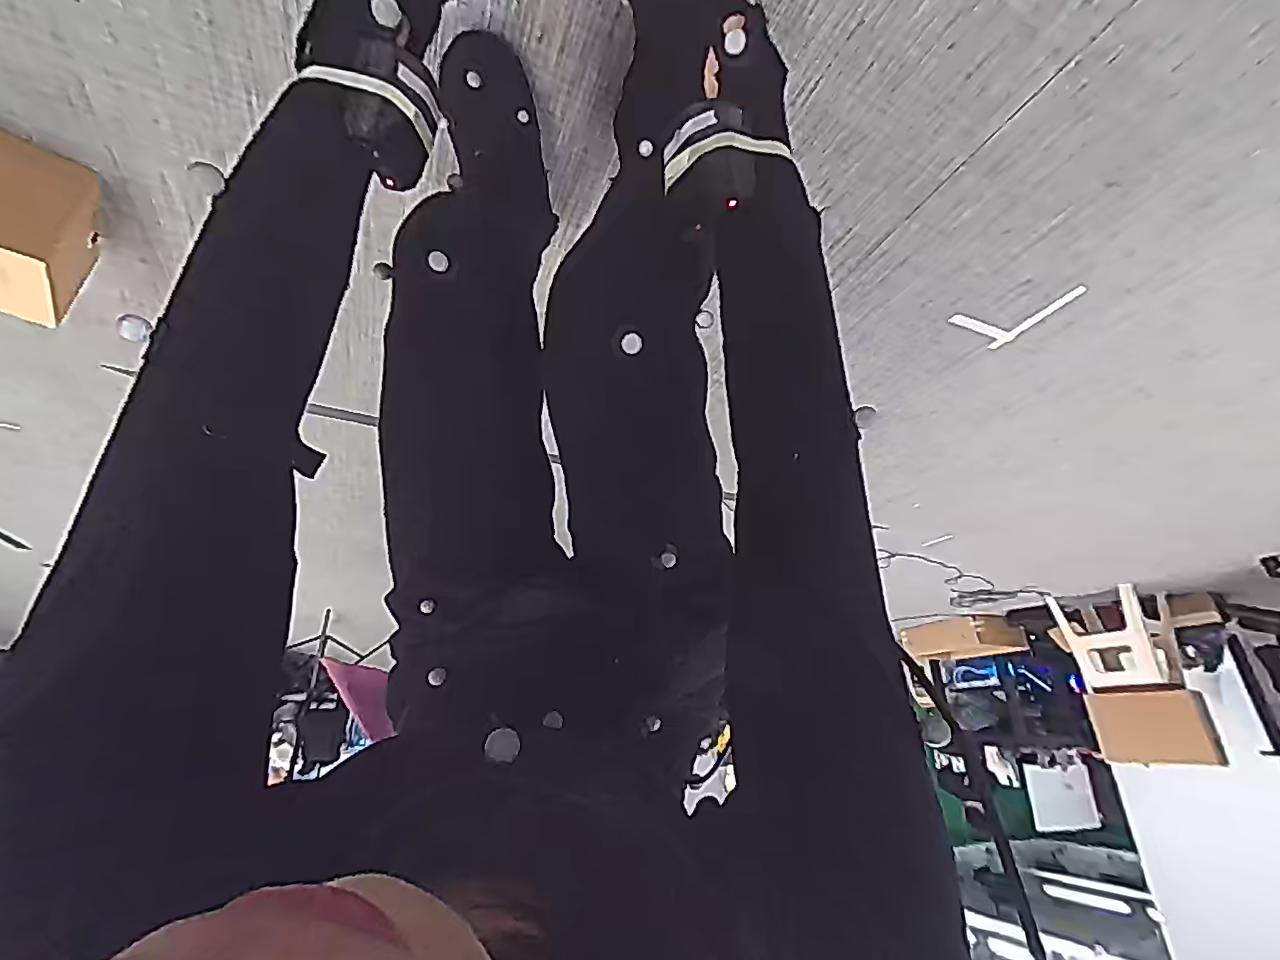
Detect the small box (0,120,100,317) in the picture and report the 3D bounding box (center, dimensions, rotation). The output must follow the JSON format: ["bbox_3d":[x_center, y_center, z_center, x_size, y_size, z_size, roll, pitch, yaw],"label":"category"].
[{"bbox_3d":[-0.852,-0.354,0.698,0.179,0.176,0.168,20,149,-36],"label":"small box"}]
